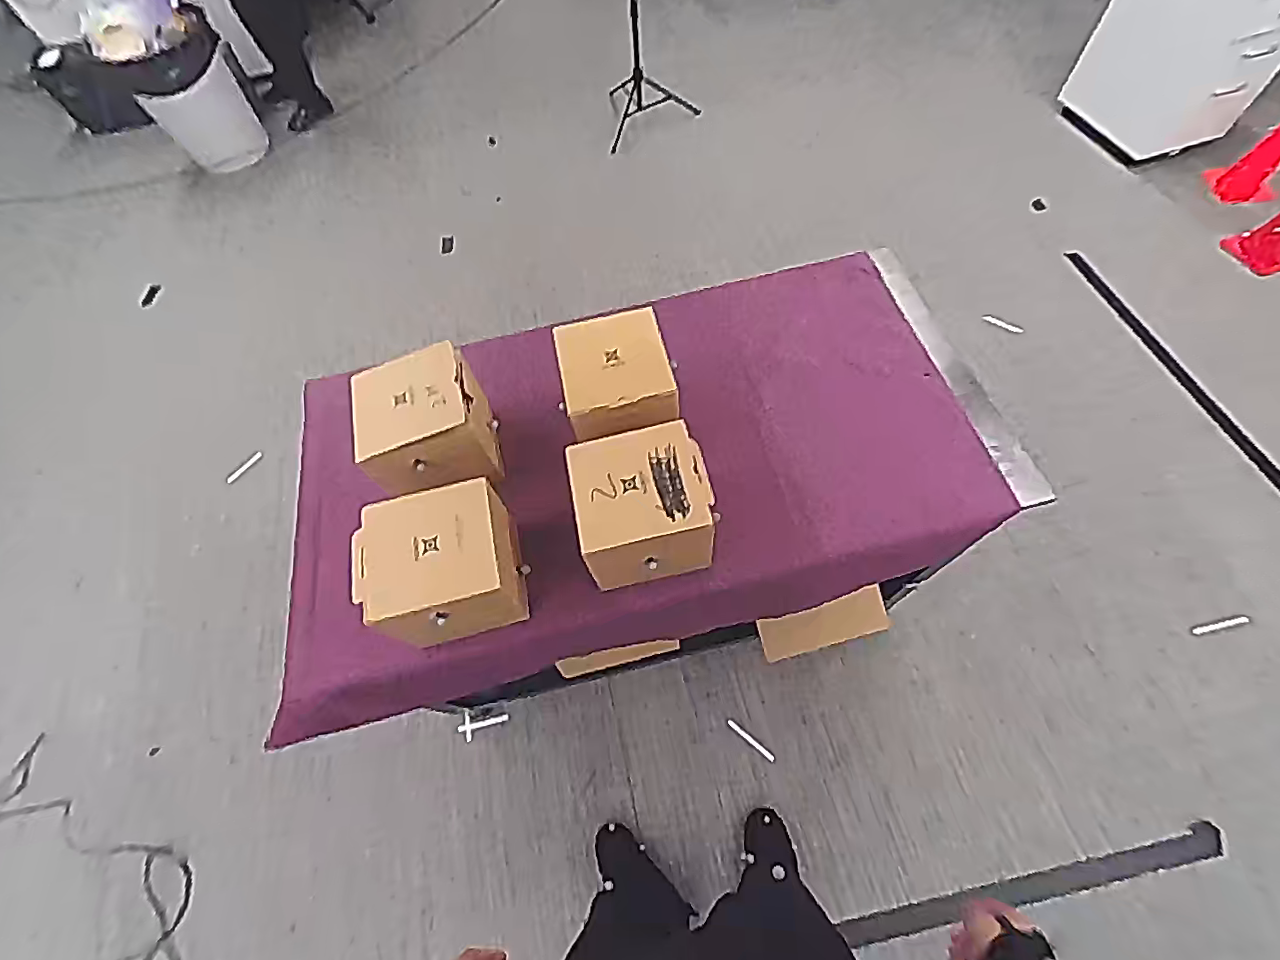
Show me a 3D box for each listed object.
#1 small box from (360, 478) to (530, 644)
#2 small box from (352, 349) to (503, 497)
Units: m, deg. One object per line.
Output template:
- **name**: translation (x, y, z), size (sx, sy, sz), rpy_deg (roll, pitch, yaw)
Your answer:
- **small box**: translation (-0.273, 0.123, 0.776), size (0.179, 0.176, 0.168), rpy_deg (-14, 63, -3)
- **small box**: translation (-0.342, -0.080, 0.886), size (0.179, 0.176, 0.168), rpy_deg (-15, 63, -4)
